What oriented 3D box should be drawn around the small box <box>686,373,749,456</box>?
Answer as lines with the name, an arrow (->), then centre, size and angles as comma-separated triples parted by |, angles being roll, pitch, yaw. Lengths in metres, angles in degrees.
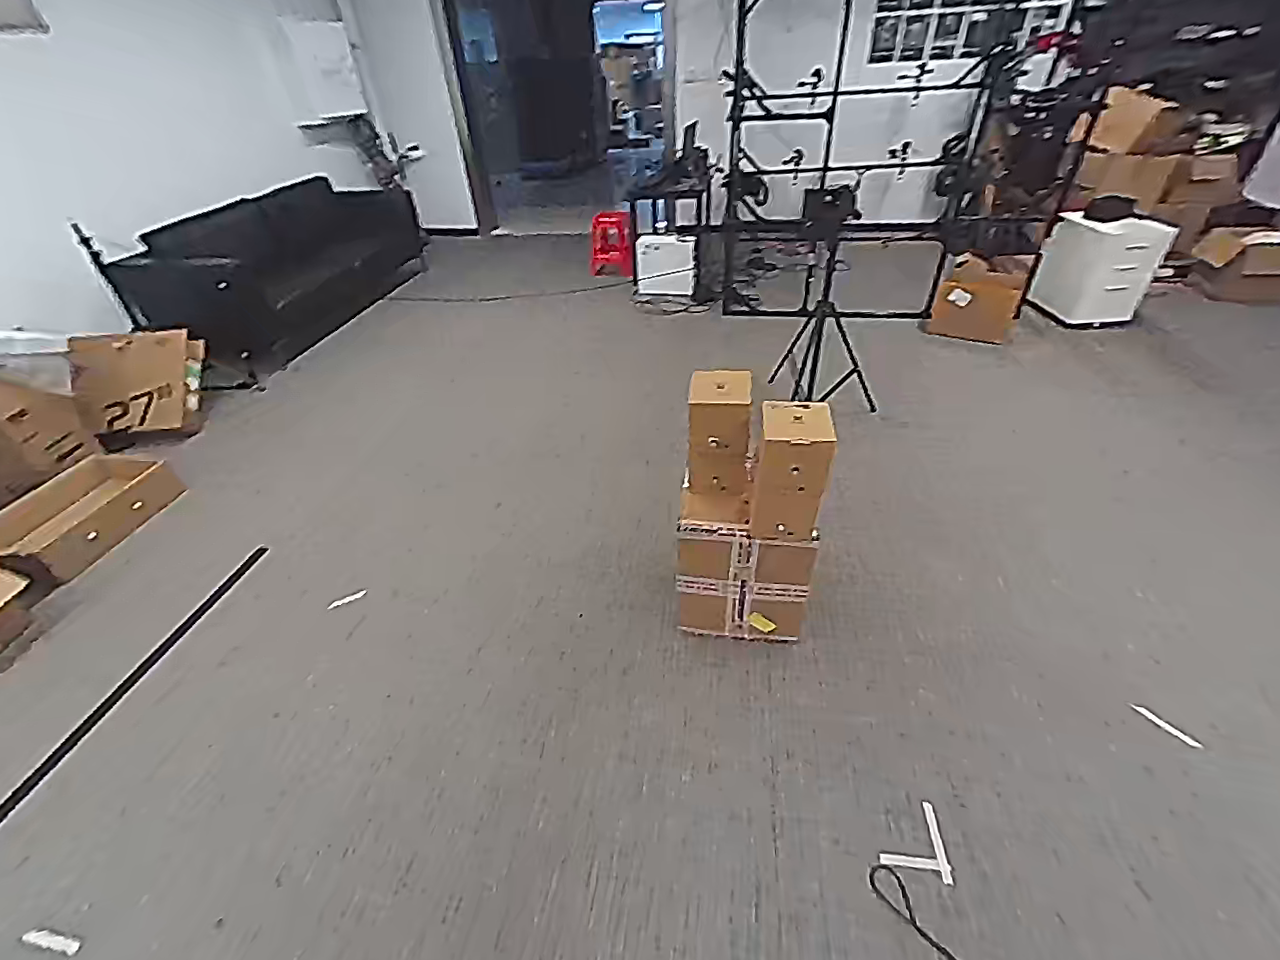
small box -> 0.220, -0.186, 1.525 | 0.168, 0.176, 0.179 | 1, 41, 9

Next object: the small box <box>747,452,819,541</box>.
small box -> 0.385, 0.044, 1.487 | 0.168, 0.176, 0.179 | 2, 41, 7

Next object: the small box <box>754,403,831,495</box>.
small box -> 0.382, -0.078, 1.378 | 0.168, 0.176, 0.179 | 3, 41, 8

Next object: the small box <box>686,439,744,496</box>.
small box -> 0.229, -0.074, 1.645 | 0.168, 0.176, 0.179 | 2, 40, 9
